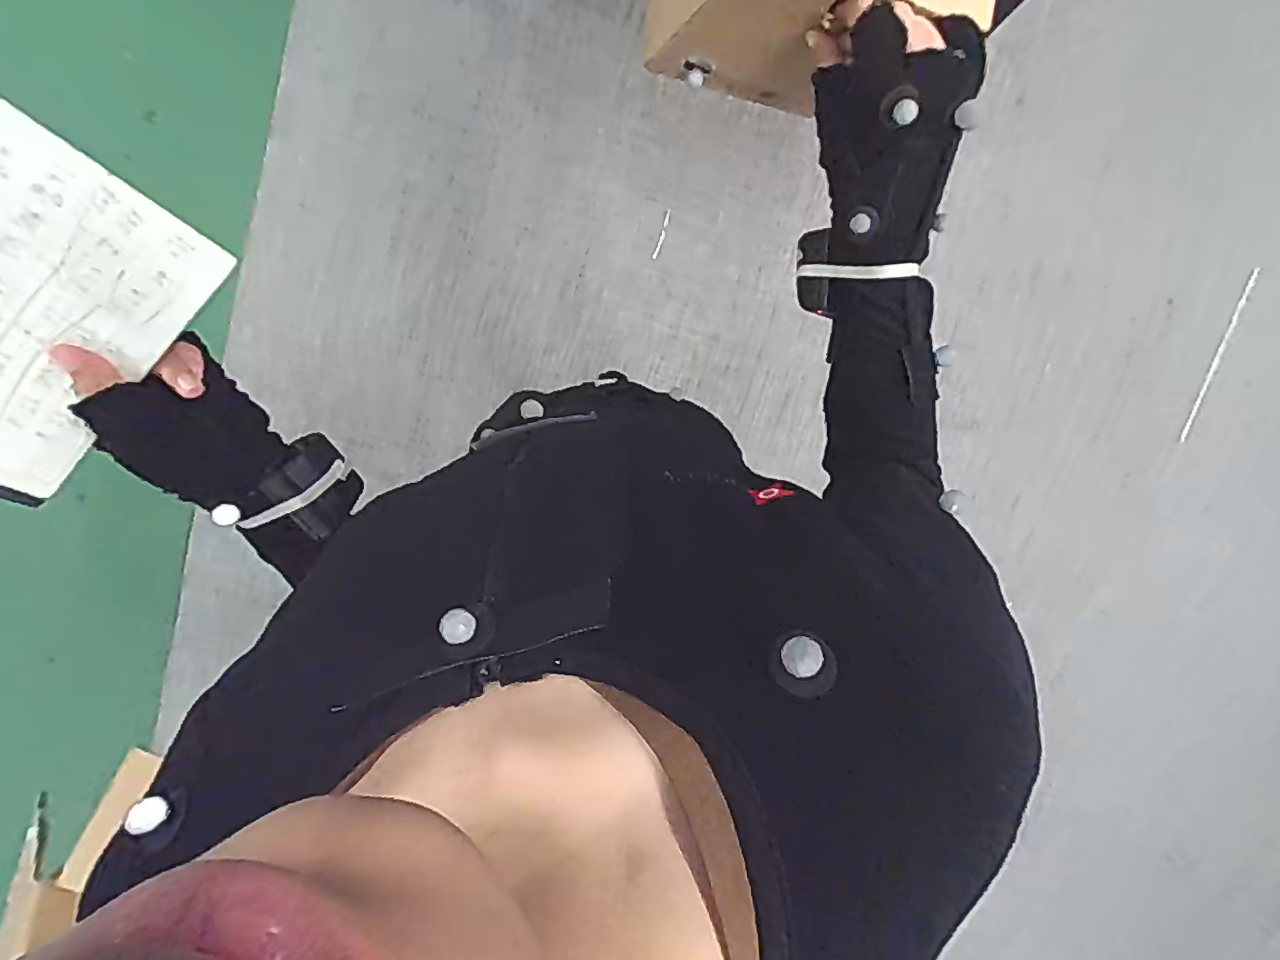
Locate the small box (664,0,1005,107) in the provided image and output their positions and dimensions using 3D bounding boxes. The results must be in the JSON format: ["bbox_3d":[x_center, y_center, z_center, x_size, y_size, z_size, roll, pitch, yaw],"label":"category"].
[{"bbox_3d":[0.127,-0.383,0.356,0.168,0.176,0.179,-1,106,-23],"label":"small box"}]
